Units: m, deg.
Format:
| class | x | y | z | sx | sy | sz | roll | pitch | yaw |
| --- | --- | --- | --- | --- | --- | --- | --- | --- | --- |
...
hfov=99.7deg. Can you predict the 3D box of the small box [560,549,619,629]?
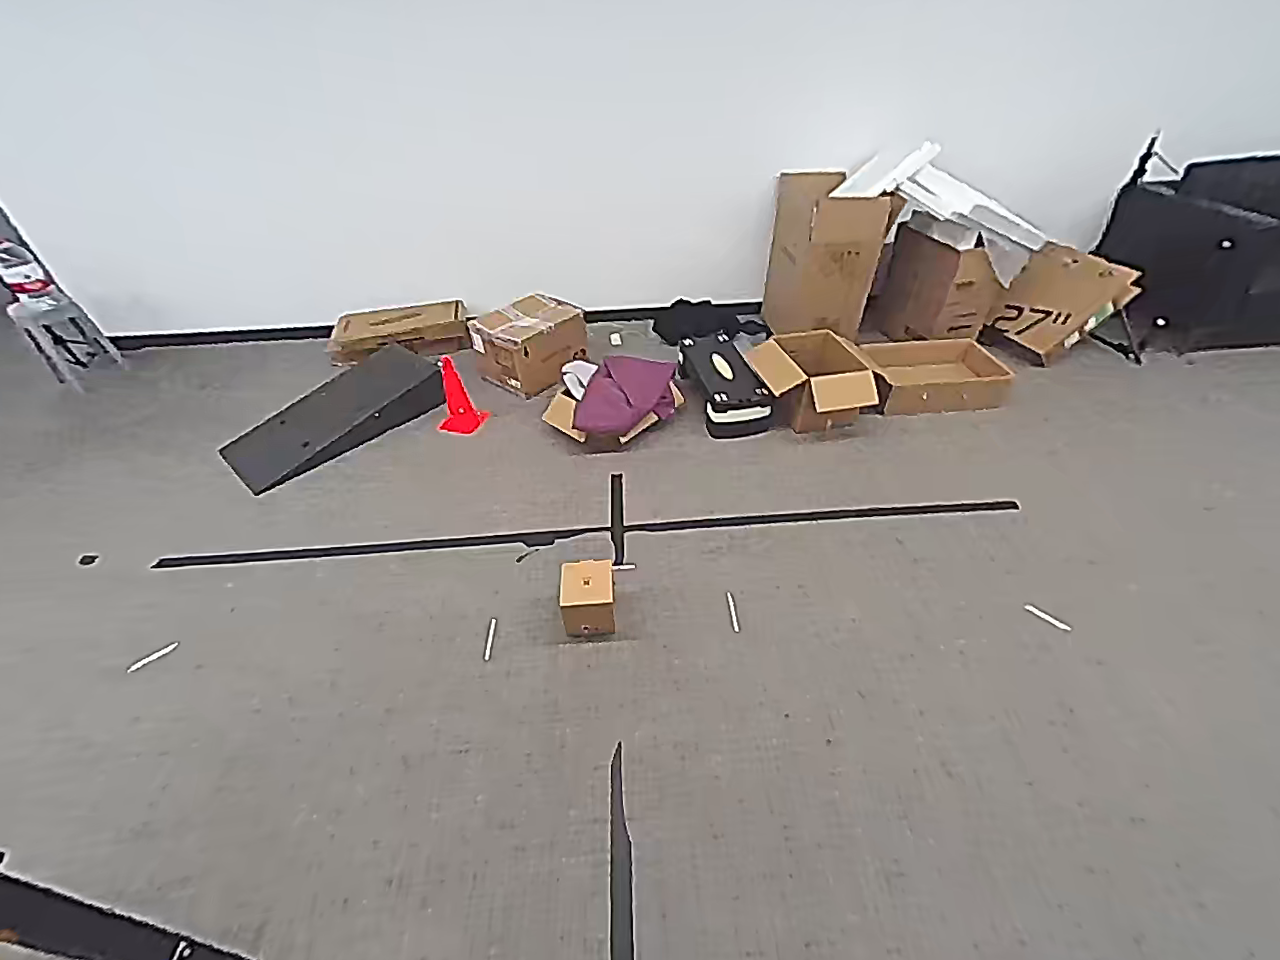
| class | x | y | z | sx | sy | sz | roll | pitch | yaw |
| --- | --- | --- | --- | --- | --- | --- | --- | --- | --- |
| small box | -0.156 | 0.340 | 1.690 | 0.168 | 0.176 | 0.179 | -5 | 42 | -2 |
